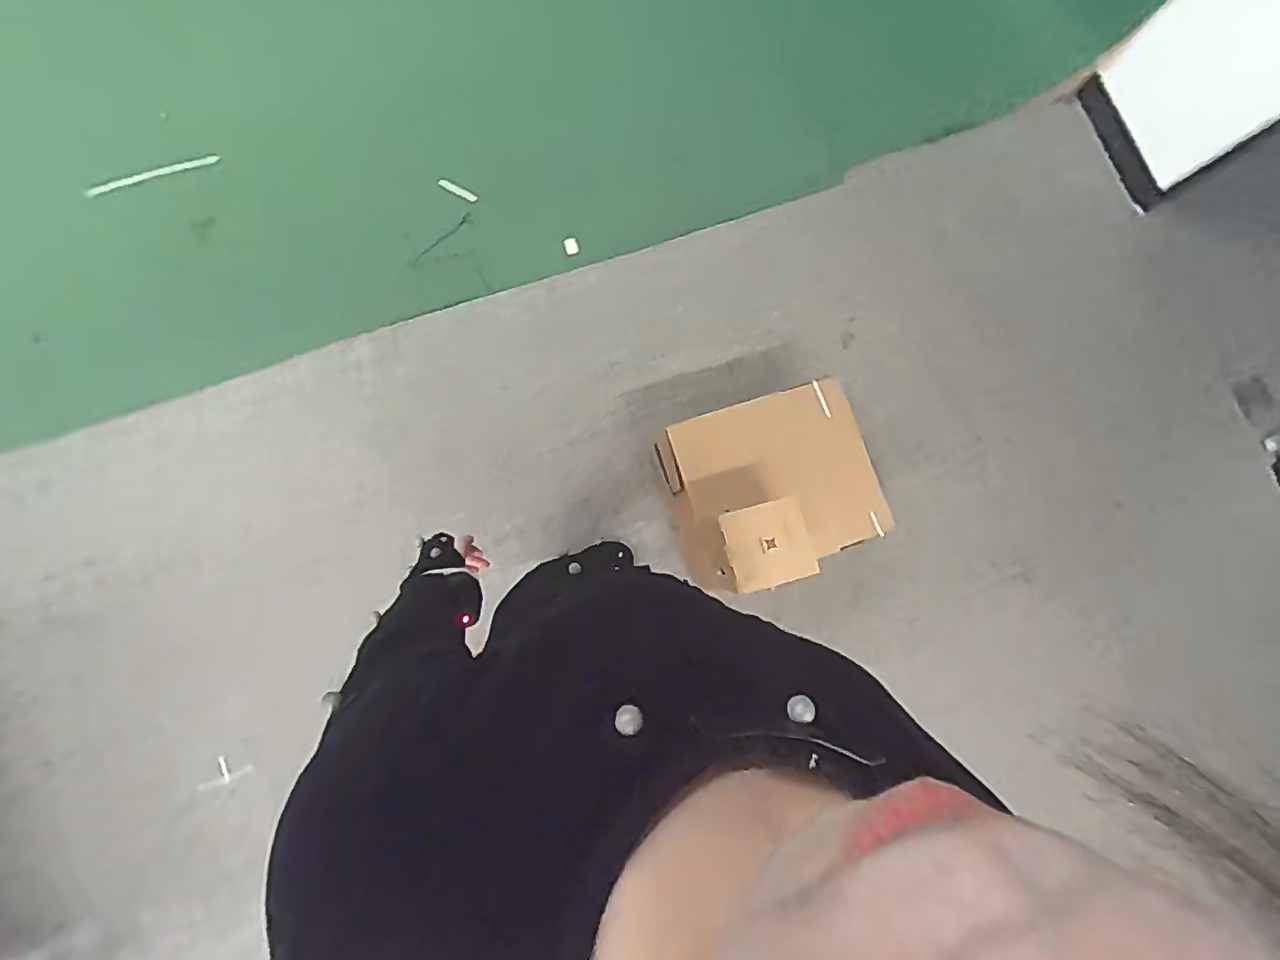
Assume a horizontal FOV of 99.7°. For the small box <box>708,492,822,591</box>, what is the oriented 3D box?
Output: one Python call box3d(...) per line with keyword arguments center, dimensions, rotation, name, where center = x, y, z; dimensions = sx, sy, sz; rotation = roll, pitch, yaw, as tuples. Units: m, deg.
box3d(center=(0.254, 0.131, 1.151), dimensions=(0.179, 0.176, 0.168), rotation=(-14, 85, -8), name="small box")
